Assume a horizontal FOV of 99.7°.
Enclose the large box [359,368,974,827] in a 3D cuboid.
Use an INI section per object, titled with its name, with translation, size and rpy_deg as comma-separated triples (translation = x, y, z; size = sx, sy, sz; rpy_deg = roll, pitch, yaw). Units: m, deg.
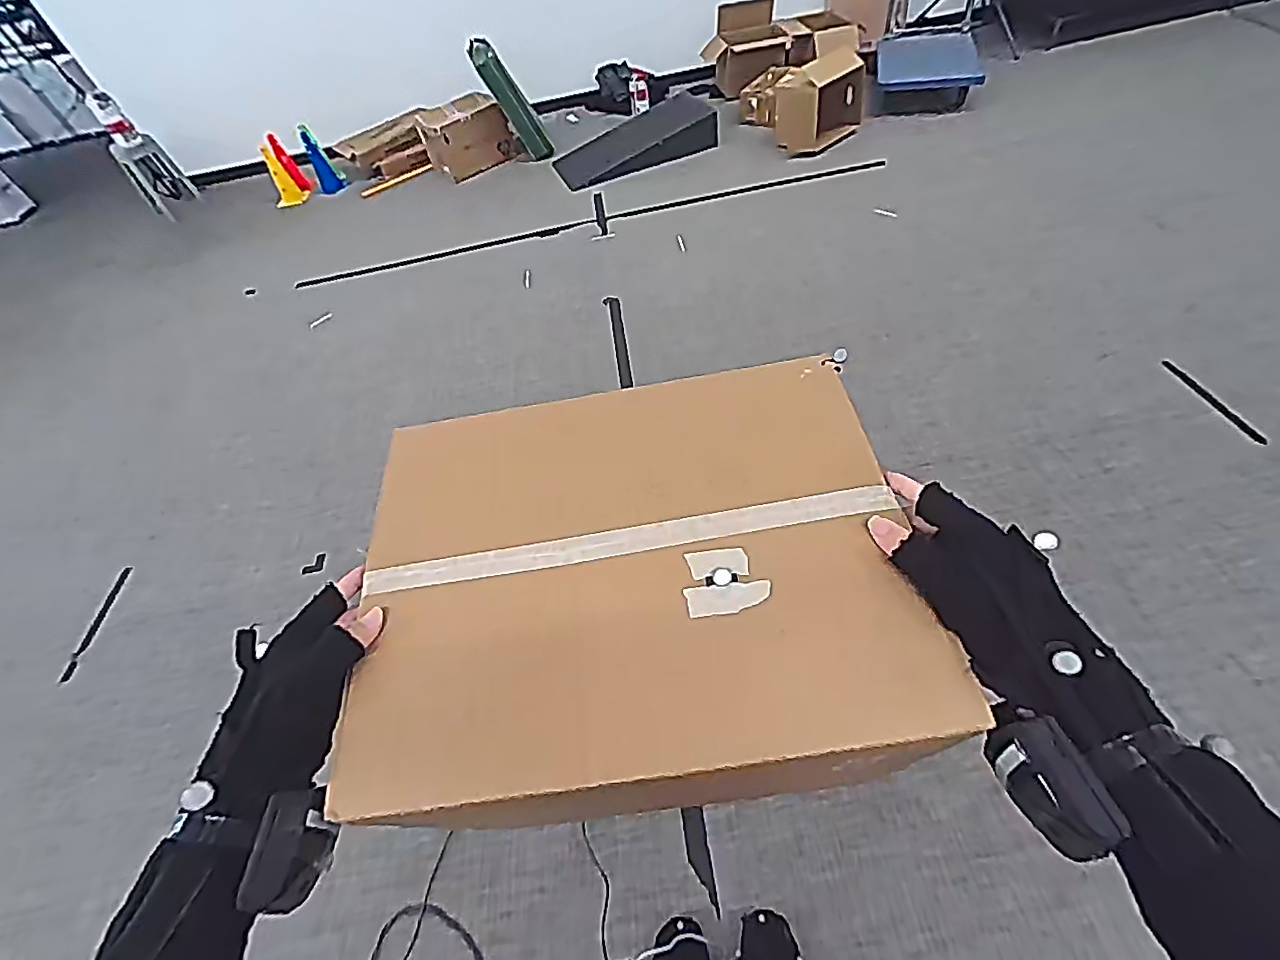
[large box]
translation = 0.012, 0.135, 0.544
size = 0.408, 0.320, 0.320
rpy_deg = -9, 56, 2
